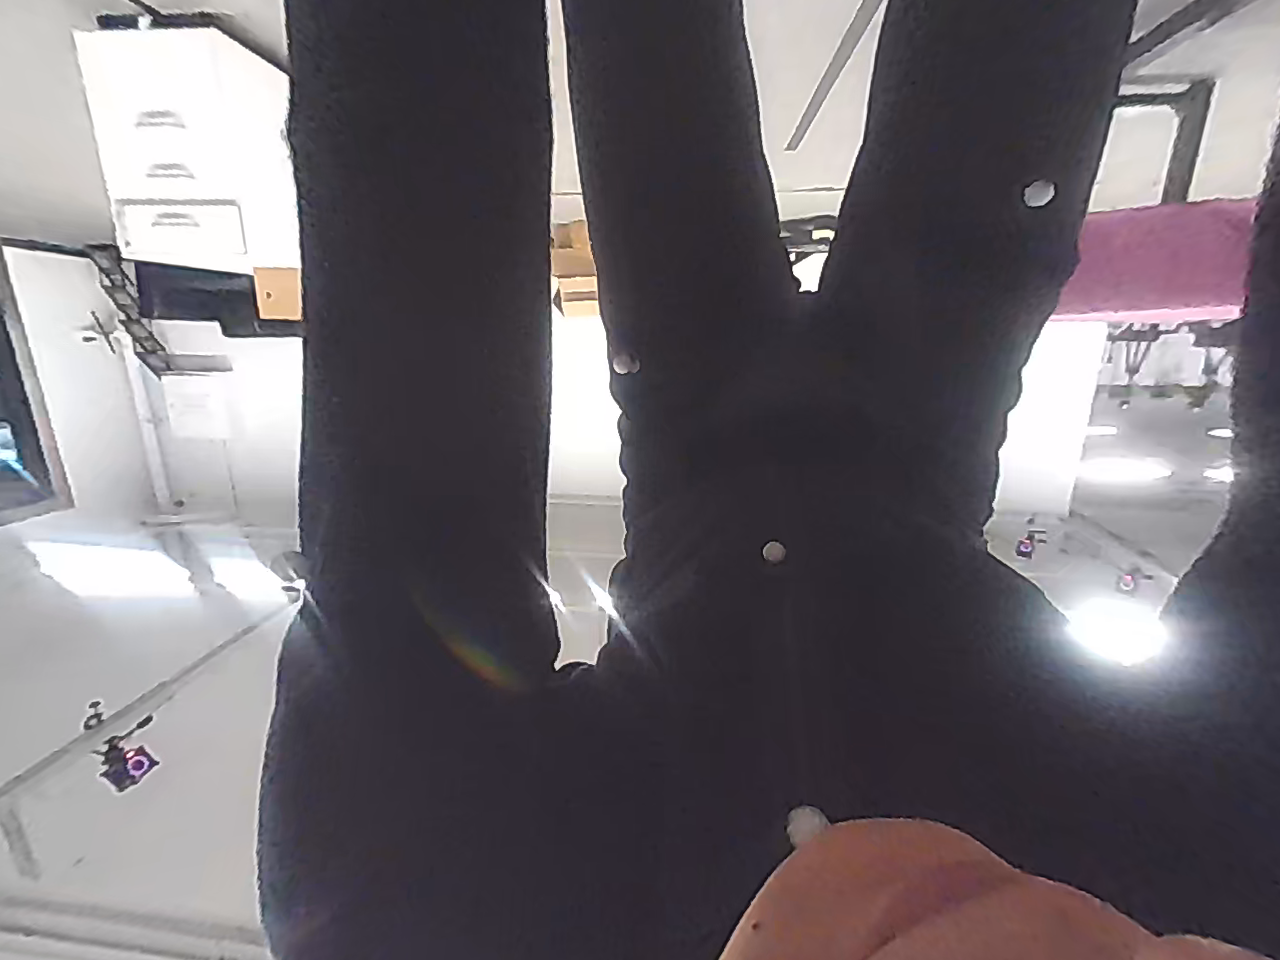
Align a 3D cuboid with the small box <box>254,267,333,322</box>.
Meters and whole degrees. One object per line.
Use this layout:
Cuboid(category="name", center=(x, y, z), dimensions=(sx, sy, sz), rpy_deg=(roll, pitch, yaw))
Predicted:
Cuboid(category="small box", center=(-1.209, -0.645, 1.886), dimensions=(0.179, 0.176, 0.168), rpy_deg=(2, -164, 2))
